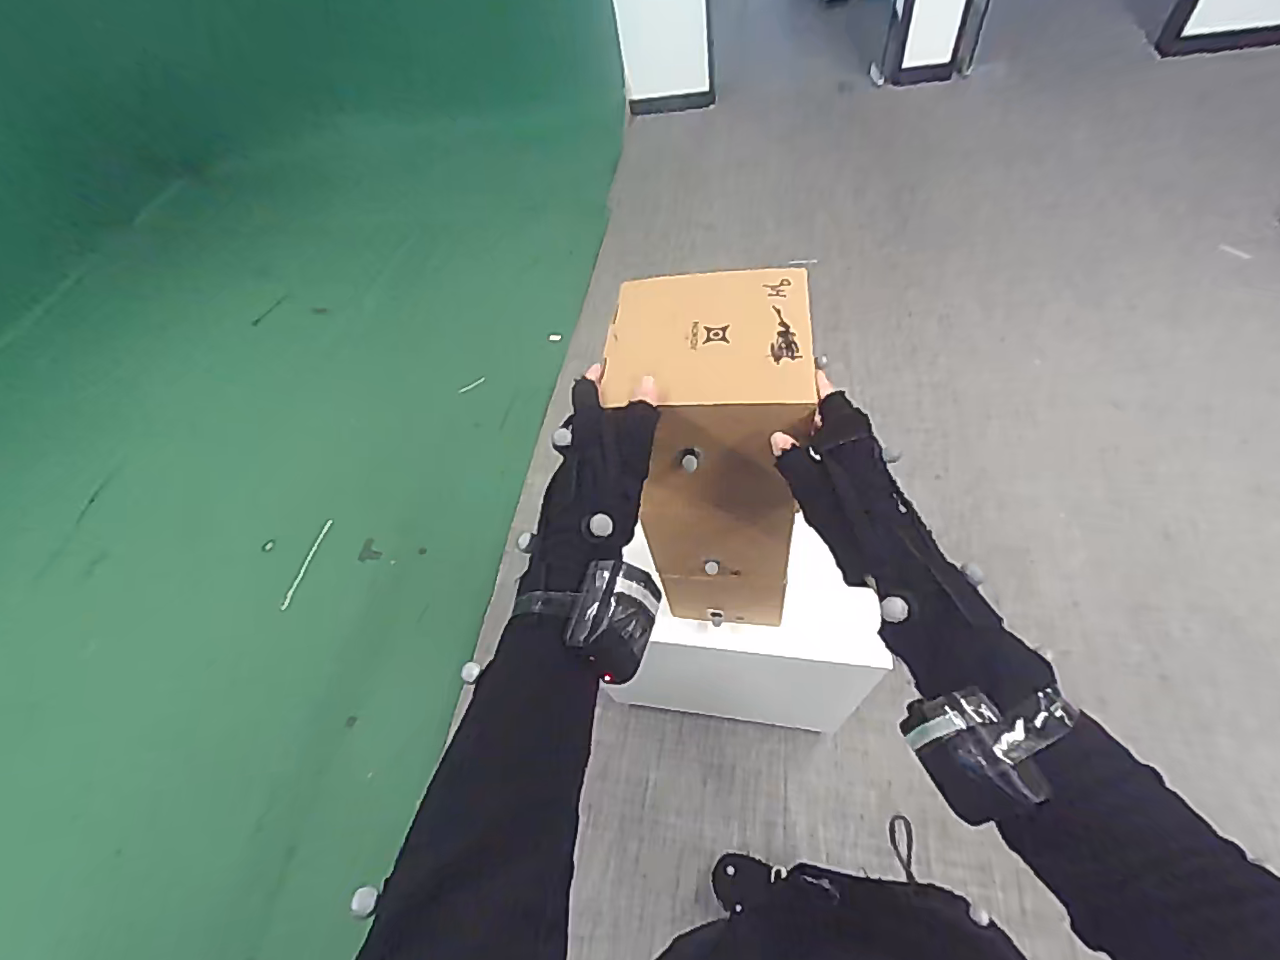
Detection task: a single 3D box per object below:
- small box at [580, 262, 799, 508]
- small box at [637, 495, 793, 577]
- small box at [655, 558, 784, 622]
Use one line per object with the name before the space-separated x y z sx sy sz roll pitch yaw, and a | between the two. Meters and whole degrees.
small box | 0.060 -0.082 0.525 0.179 0.176 0.168 0 57 13
small box | 0.094 0.001 0.662 0.168 0.176 0.179 -1 55 11
small box | 0.123 0.093 0.795 0.168 0.176 0.179 0 58 13
